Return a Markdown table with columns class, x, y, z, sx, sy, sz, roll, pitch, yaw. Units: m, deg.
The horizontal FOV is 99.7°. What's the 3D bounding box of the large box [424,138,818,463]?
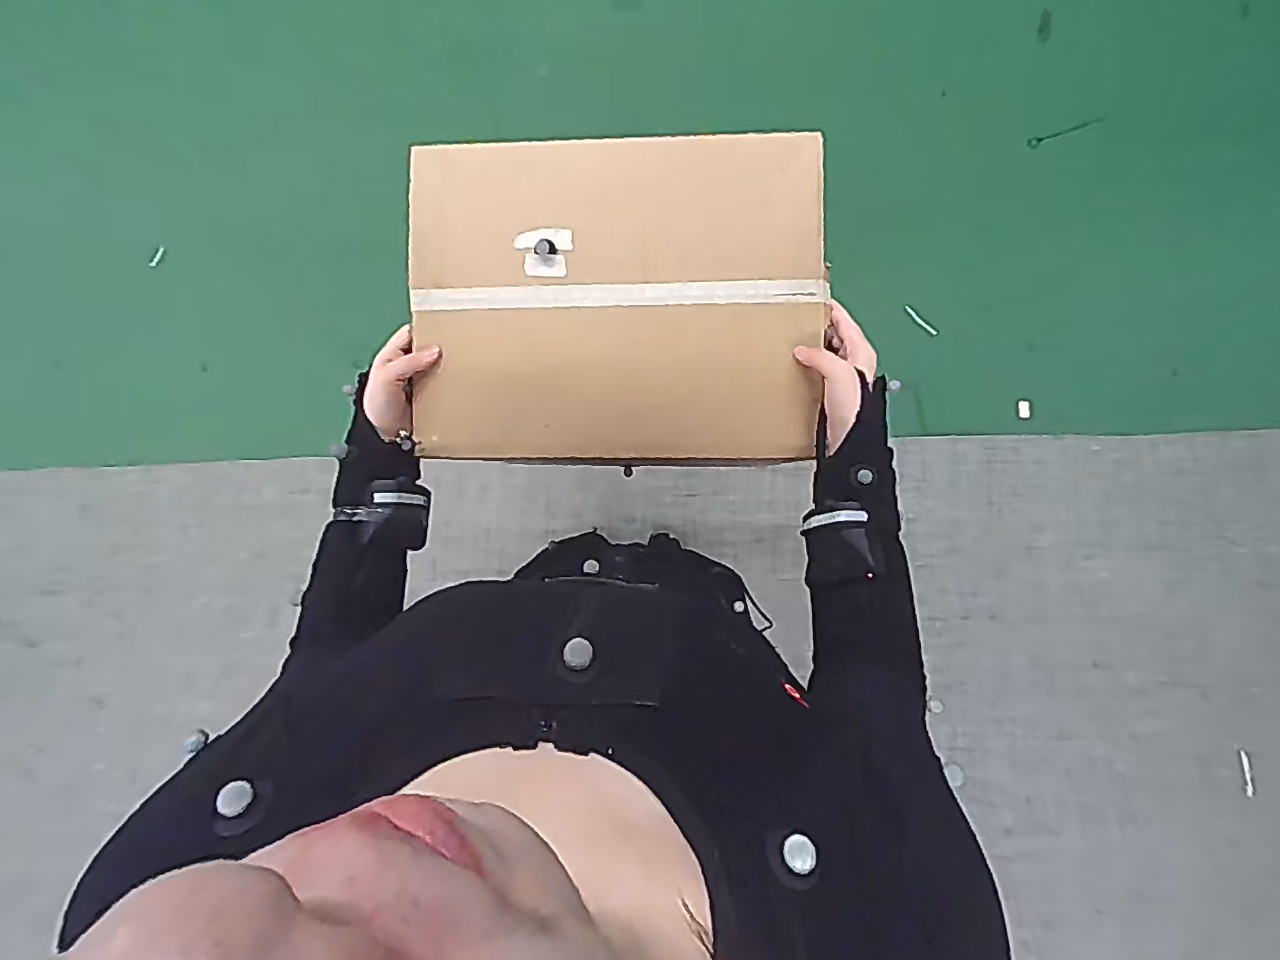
| class | x | y | z | sx | sy | sz | roll | pitch | yaw |
| --- | --- | --- | --- | --- | --- | --- | --- | --- | --- |
| large box | -0.010 | -0.179 | 0.692 | 0.408 | 0.320 | 0.320 | 0 | 90 | 5 |
